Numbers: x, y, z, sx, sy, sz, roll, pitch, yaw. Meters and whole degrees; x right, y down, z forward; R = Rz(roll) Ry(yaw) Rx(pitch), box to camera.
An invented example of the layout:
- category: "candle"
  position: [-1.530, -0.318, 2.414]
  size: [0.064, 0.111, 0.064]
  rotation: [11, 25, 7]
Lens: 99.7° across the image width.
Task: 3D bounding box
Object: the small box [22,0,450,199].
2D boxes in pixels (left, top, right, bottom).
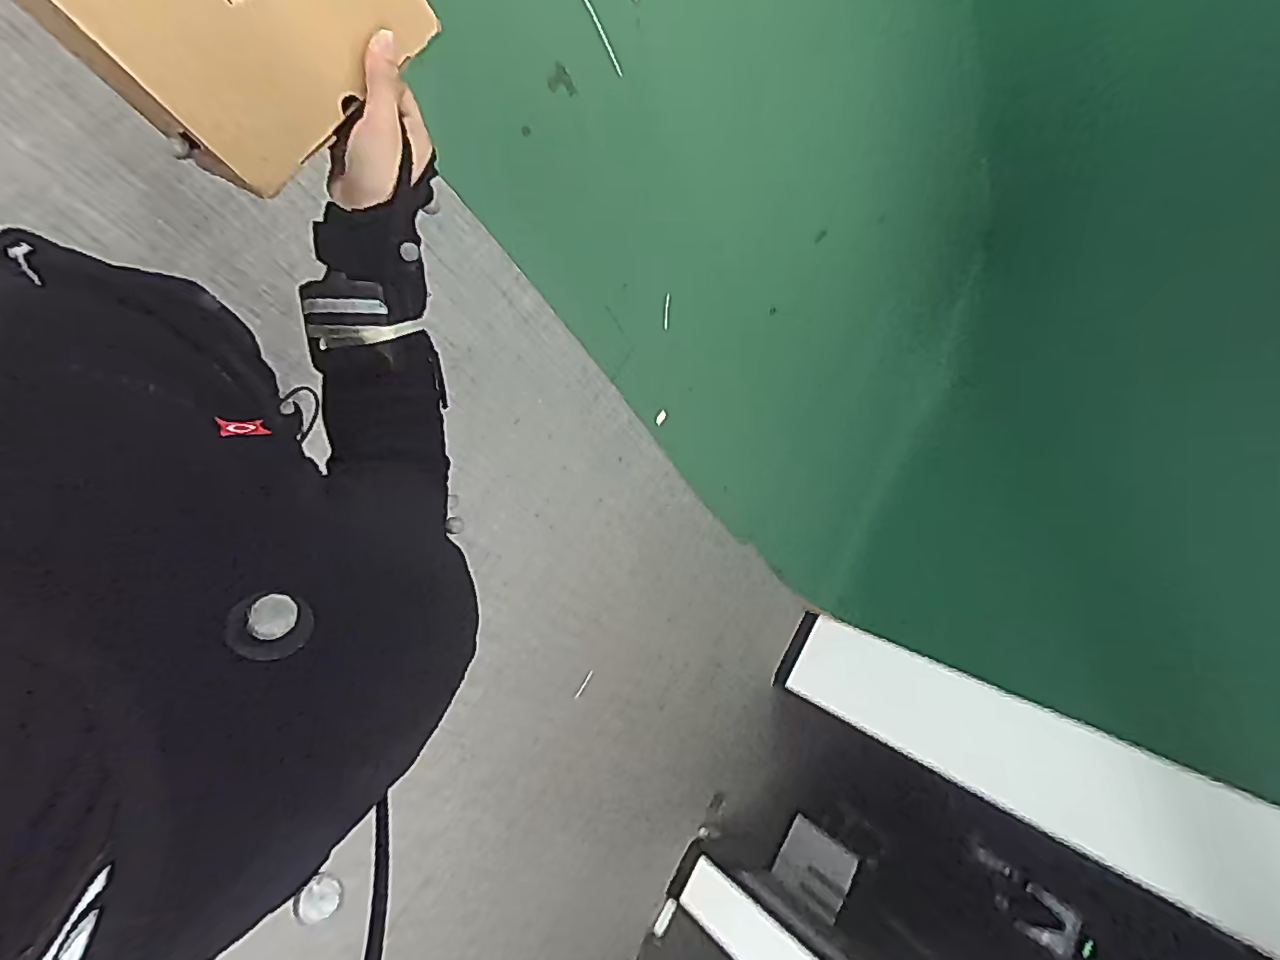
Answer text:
- category: "small box"
  position: [-0.264, -0.310, 0.328]
  size: [0.168, 0.176, 0.179]
  rotation: [-51, 147, -9]
